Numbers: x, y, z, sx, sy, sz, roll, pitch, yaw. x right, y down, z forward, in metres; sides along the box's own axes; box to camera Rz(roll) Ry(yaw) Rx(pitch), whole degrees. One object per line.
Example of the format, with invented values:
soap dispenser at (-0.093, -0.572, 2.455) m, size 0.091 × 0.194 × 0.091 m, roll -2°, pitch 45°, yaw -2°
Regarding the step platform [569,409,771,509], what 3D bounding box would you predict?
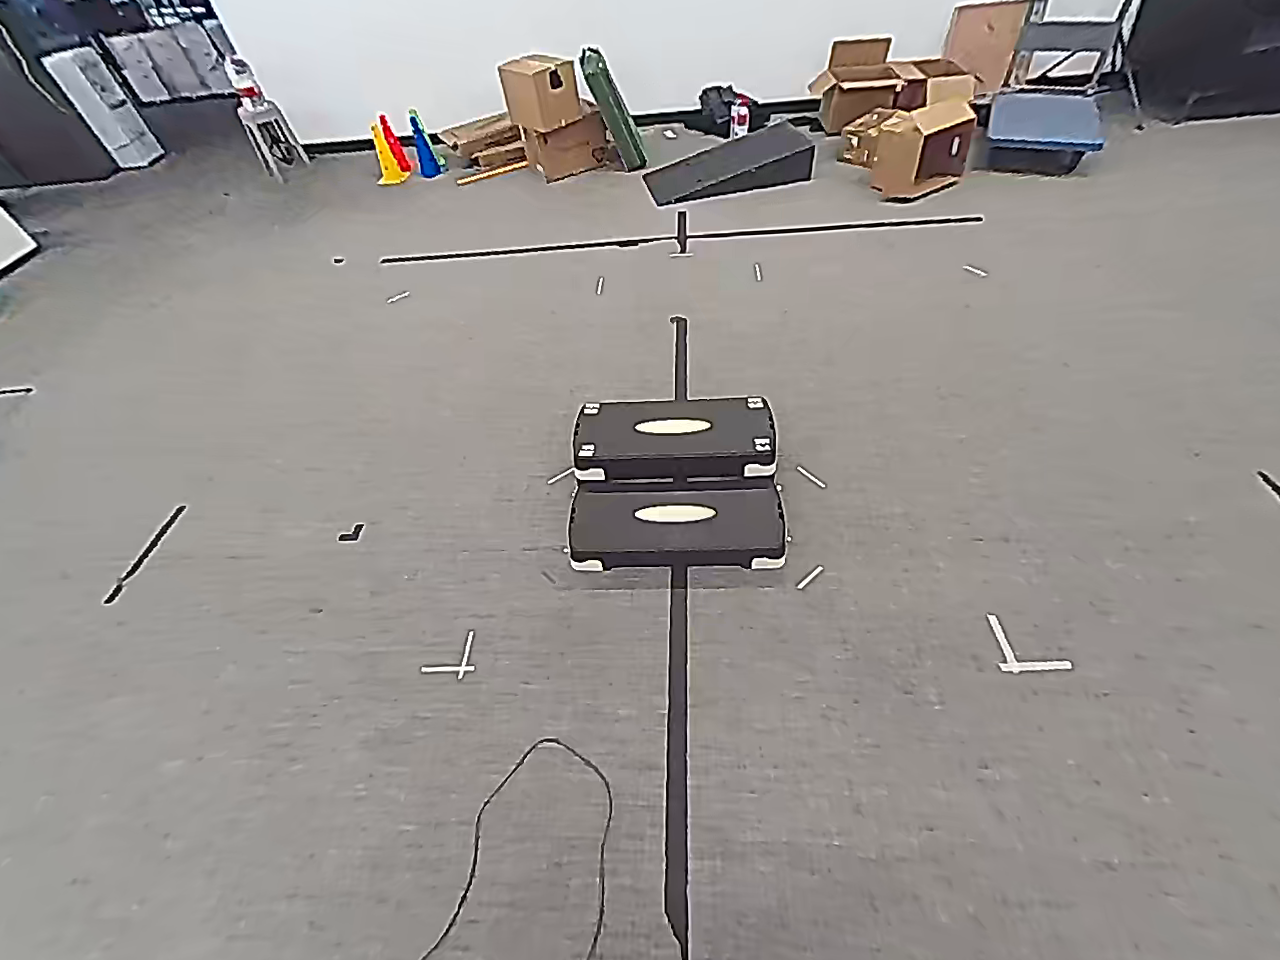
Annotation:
step platform at (0.099, -0.077, 1.853) m, size 0.684 × 0.204 × 0.286 m, roll -2°, pitch 50°, yaw 4°
